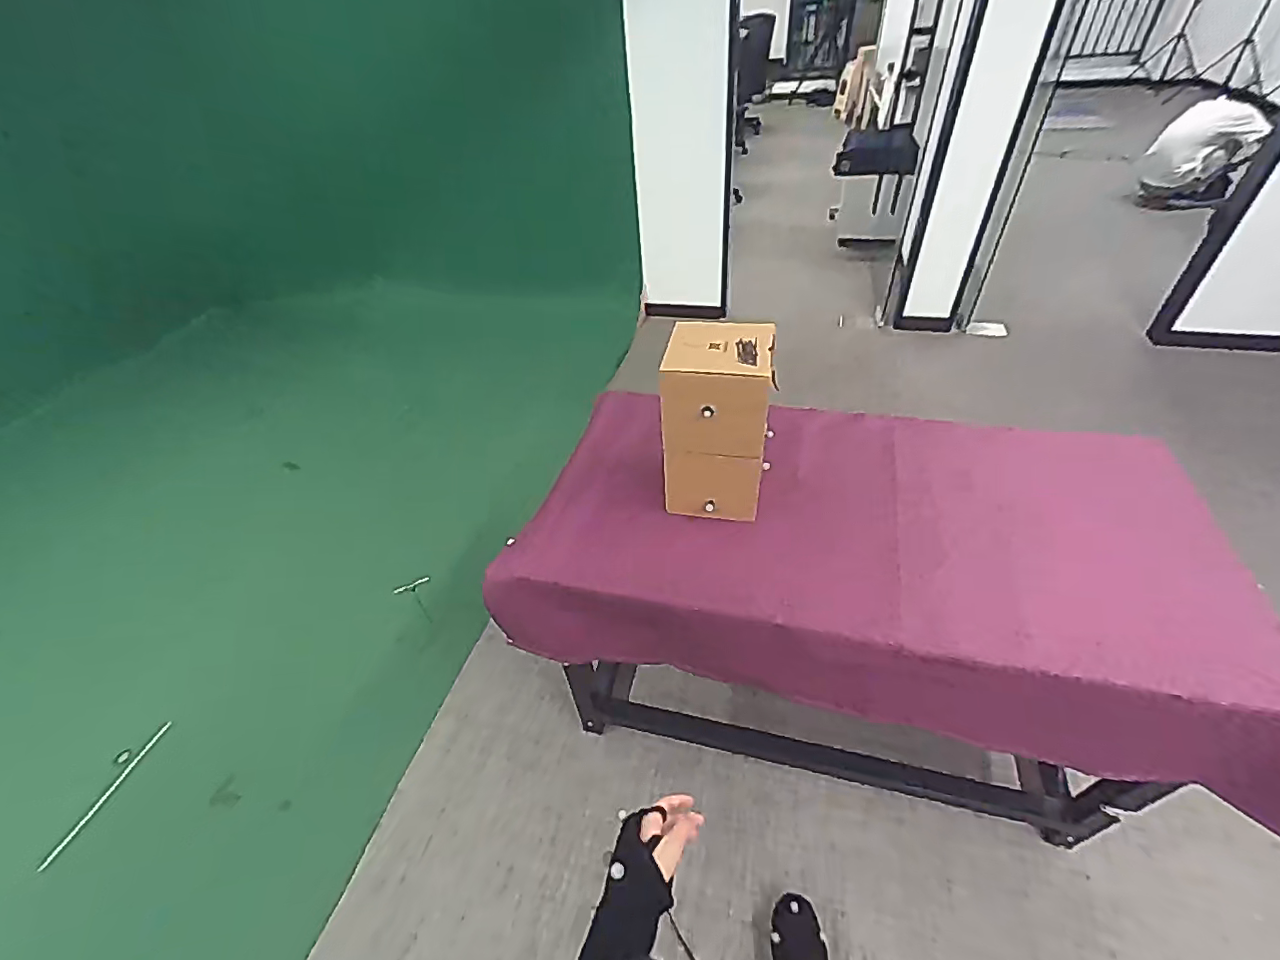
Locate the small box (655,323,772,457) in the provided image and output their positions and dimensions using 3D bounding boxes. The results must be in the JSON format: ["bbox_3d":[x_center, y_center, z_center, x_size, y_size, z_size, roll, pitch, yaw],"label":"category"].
[{"bbox_3d":[0.131,-0.156,0.947,0.179,0.176,0.168,5,45,13],"label":"small box"}]

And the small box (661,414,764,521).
[{"bbox_3d":[0.143,-0.037,1.060,0.179,0.176,0.168,6,45,12],"label":"small box"}]
